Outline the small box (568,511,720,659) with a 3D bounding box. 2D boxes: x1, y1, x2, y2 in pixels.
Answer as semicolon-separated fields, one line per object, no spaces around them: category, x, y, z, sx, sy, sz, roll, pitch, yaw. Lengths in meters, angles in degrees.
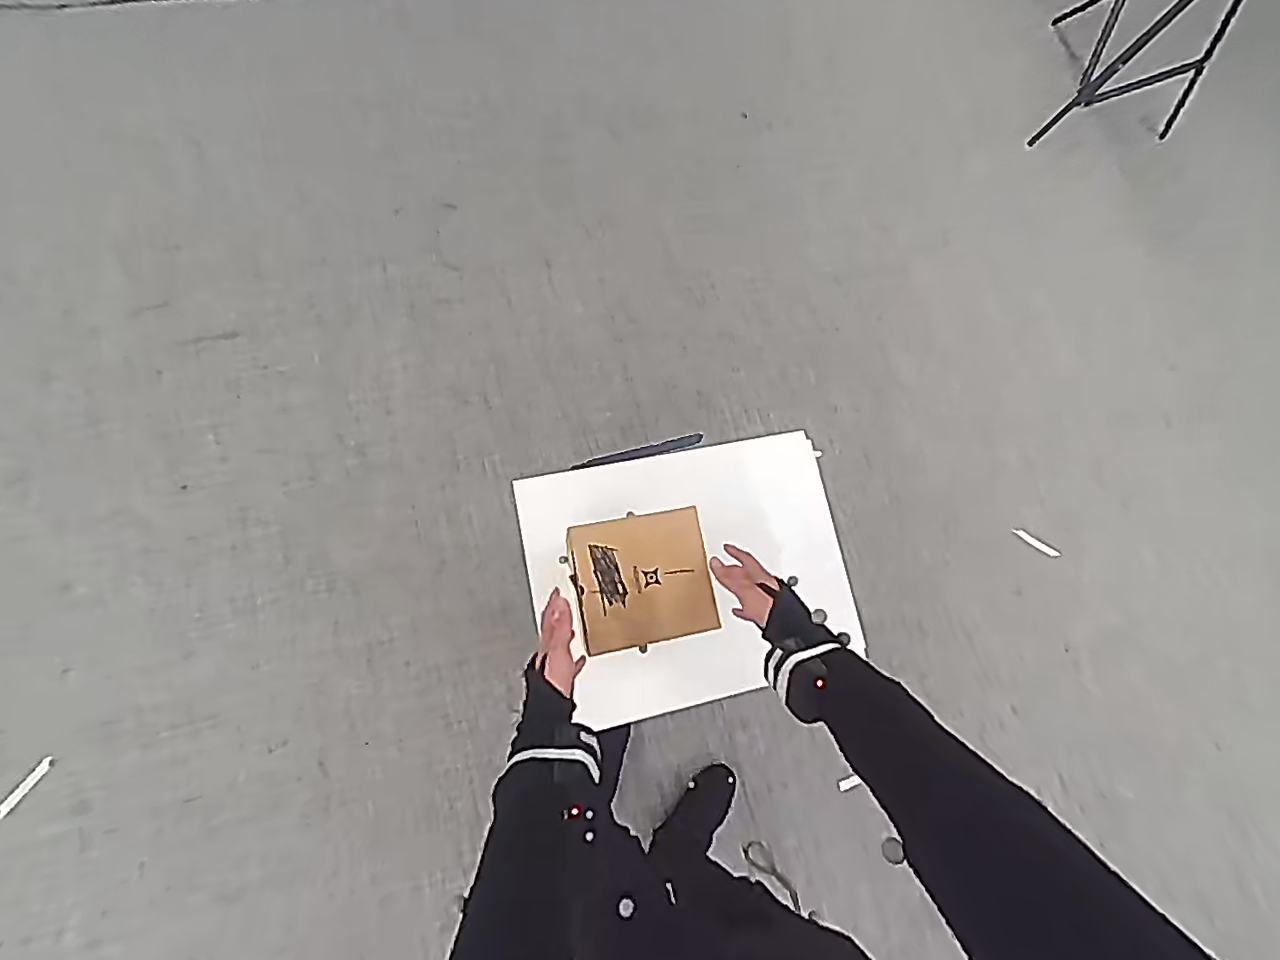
small box;-0.006;0.149;0.771;0.179;0.176;0.168;-9;79;-11
